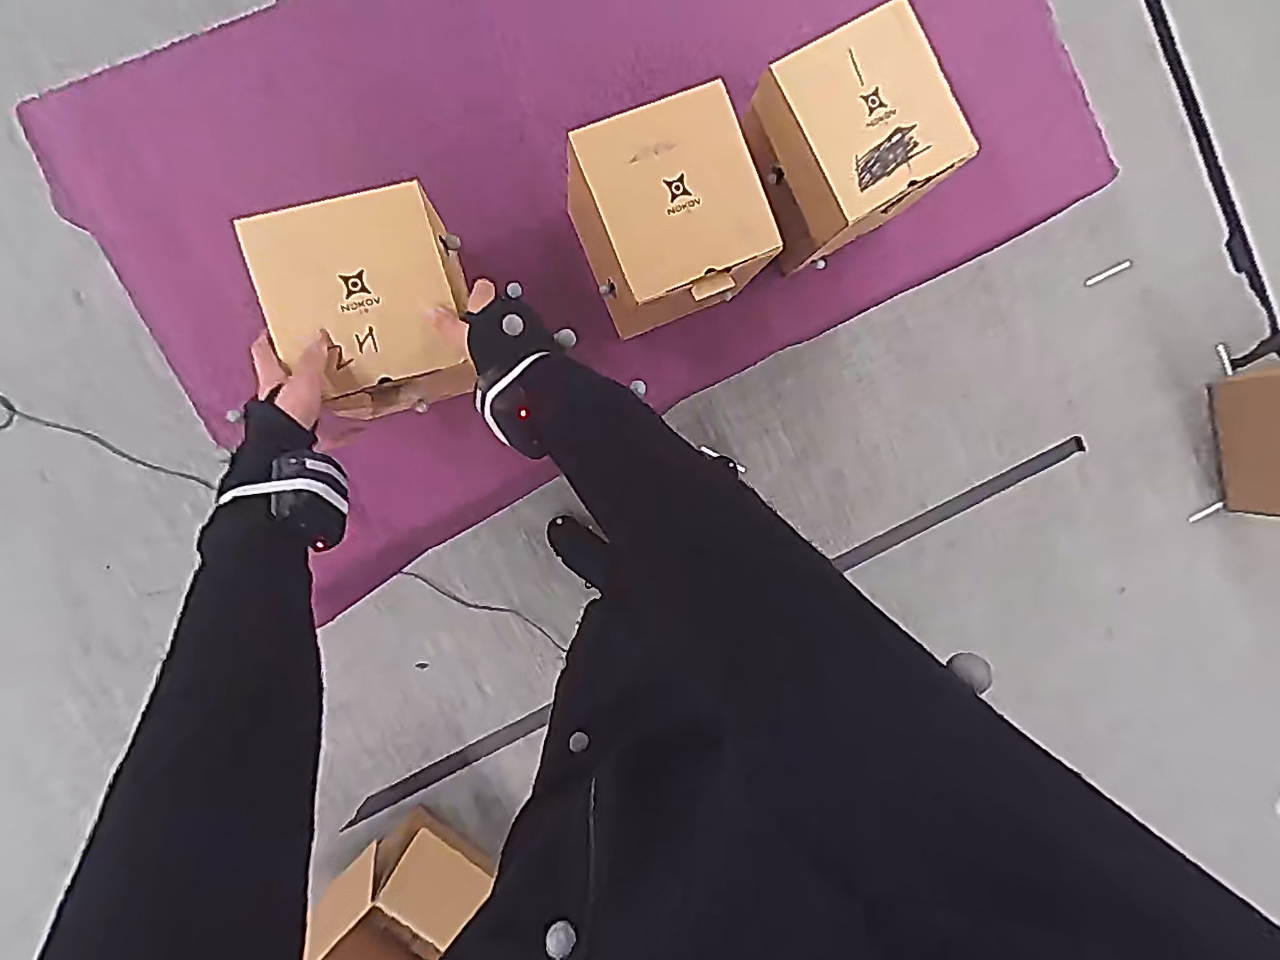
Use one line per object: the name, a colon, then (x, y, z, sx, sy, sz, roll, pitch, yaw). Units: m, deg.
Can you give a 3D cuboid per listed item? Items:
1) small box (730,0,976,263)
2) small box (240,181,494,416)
small box: (0.230, -0.376, 0.625, 0.168, 0.176, 0.179, -30, 95, -5)
small box: (-0.267, -0.175, 0.573, 0.168, 0.176, 0.179, -16, 95, -6)
